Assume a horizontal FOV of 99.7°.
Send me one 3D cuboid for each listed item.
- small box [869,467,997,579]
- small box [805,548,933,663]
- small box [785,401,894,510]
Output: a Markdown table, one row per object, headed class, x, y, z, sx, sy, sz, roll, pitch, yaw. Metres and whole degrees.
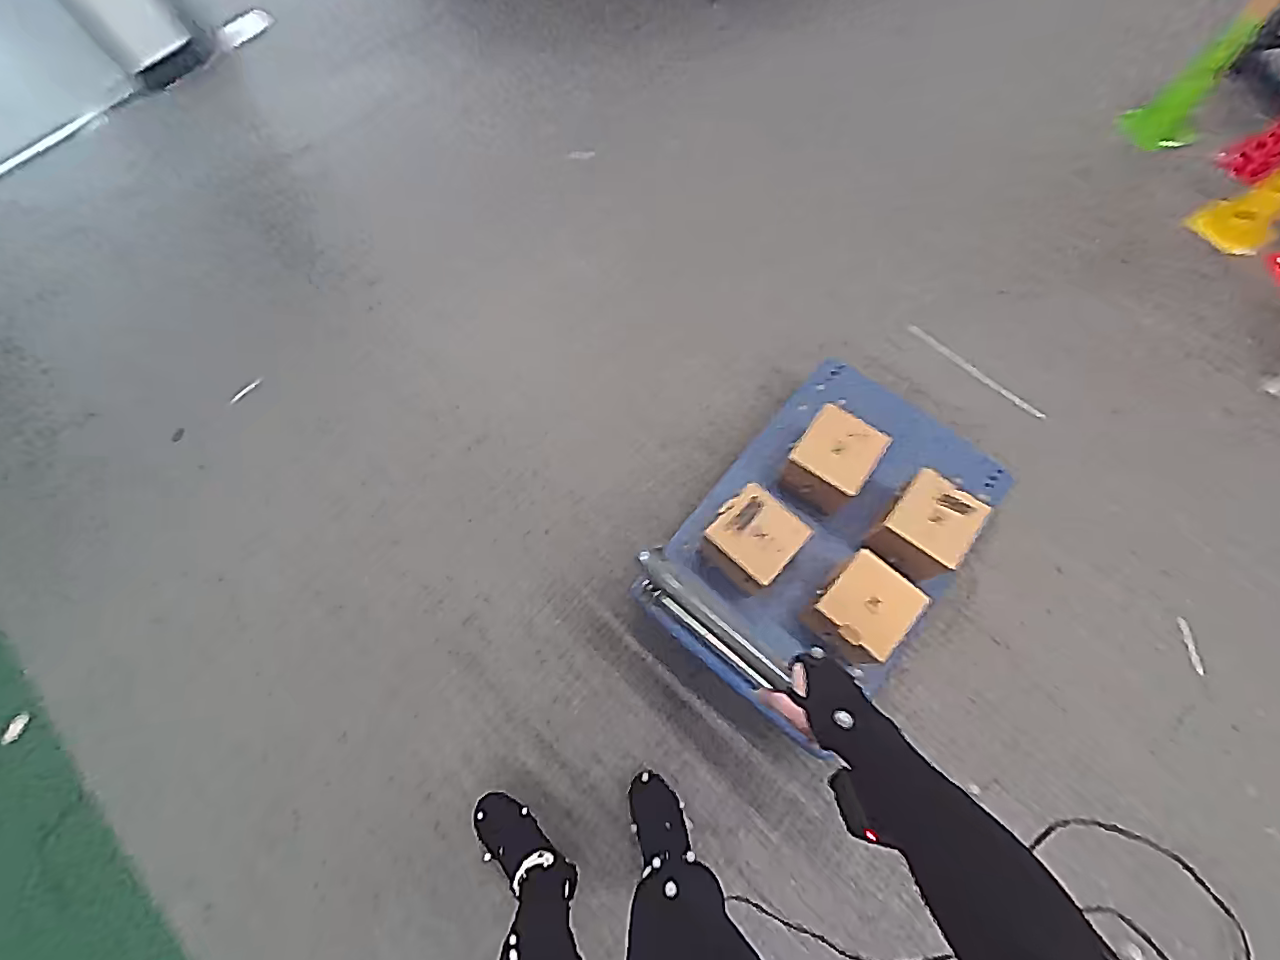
| class | x | y | z | sx | sy | sz | roll | pitch | yaw |
| --- | --- | --- | --- | --- | --- | --- | --- | --- | --- |
| small box | 0.662 | 0.105 | 1.245 | 0.168 | 0.176 | 0.179 | 37 | 77 | 14 |
| small box | 0.492 | 0.280 | 1.193 | 0.168 | 0.176 | 0.179 | 41 | 78 | 14 |
| small box | 0.469 | -0.051 | 1.304 | 0.168 | 0.176 | 0.179 | 36 | 76 | 12 |
